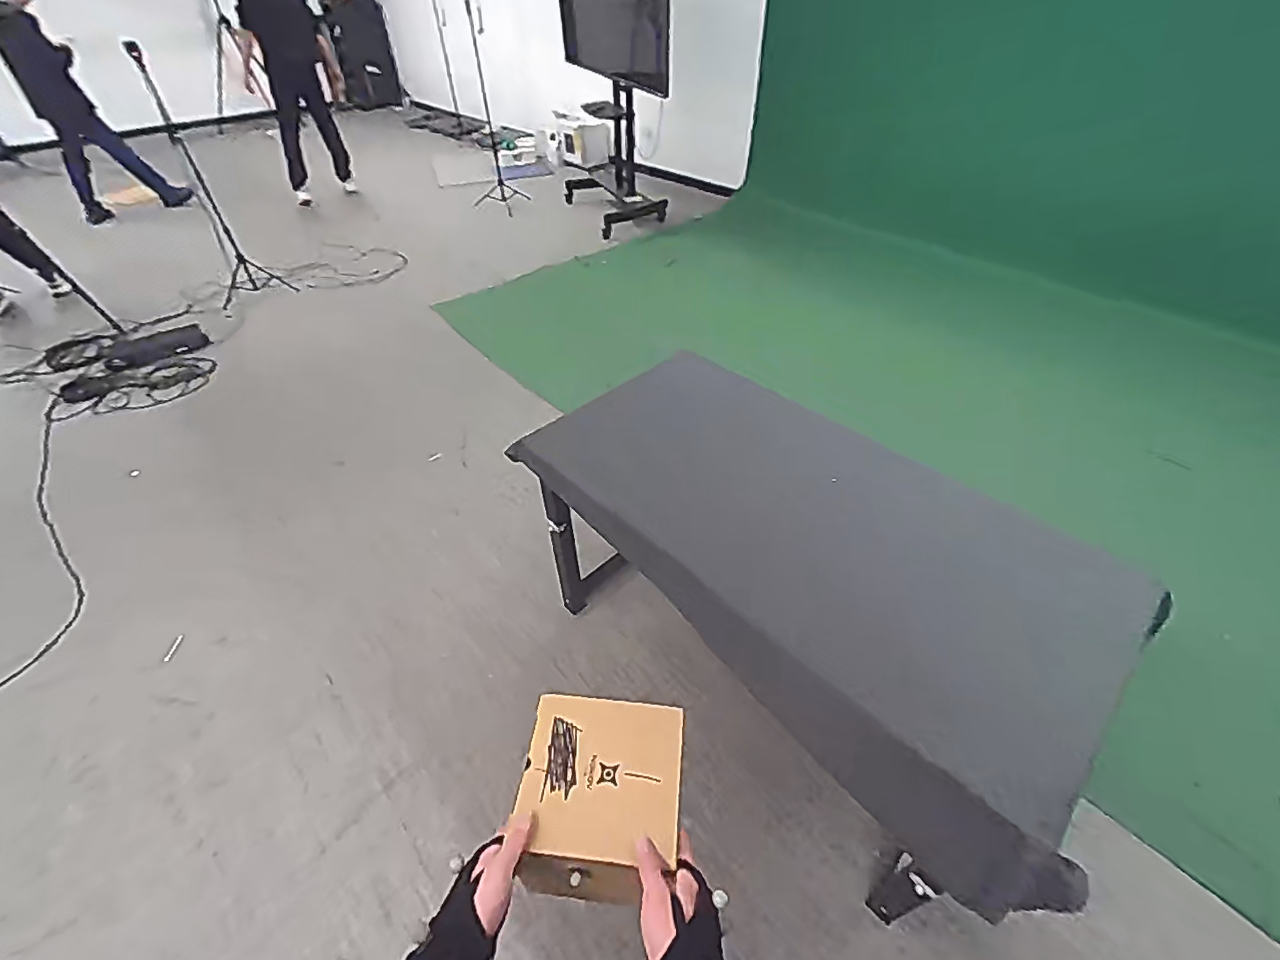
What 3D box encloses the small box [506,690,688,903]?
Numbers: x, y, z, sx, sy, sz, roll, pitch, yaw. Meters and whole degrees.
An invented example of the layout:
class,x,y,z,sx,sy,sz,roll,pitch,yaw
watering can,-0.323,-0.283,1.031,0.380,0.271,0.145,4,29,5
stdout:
class,x,y,z,sx,sy,sz,roll,pitch,yaw
small box,-0.040,0.373,0.638,0.179,0.176,0.168,5,42,3
